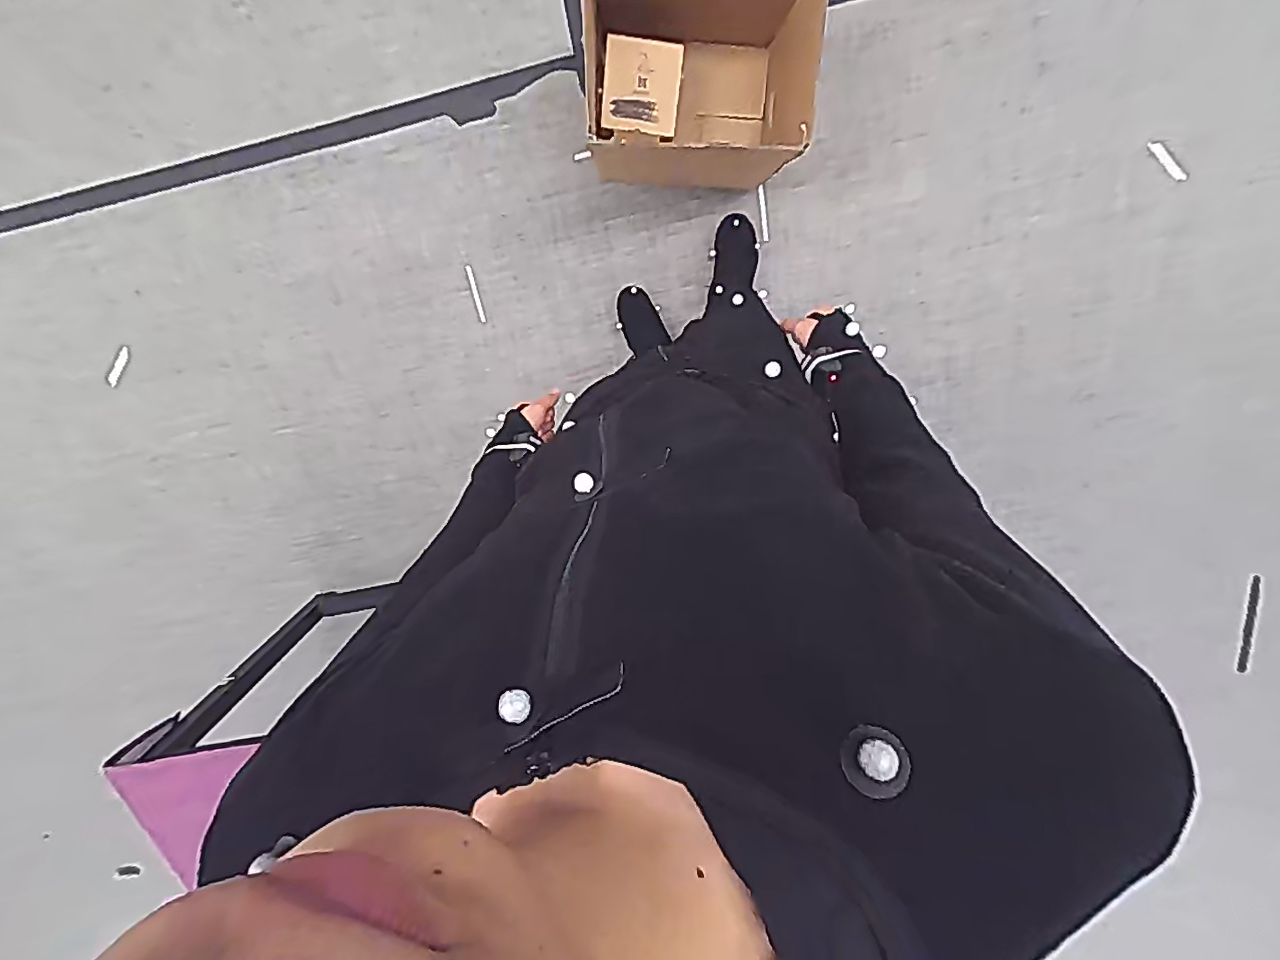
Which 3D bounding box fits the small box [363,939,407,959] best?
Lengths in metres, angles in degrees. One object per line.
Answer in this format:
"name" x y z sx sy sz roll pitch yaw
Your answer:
"small box" -0.647 1.207 1.251 0.179 0.176 0.168 -13 108 6
